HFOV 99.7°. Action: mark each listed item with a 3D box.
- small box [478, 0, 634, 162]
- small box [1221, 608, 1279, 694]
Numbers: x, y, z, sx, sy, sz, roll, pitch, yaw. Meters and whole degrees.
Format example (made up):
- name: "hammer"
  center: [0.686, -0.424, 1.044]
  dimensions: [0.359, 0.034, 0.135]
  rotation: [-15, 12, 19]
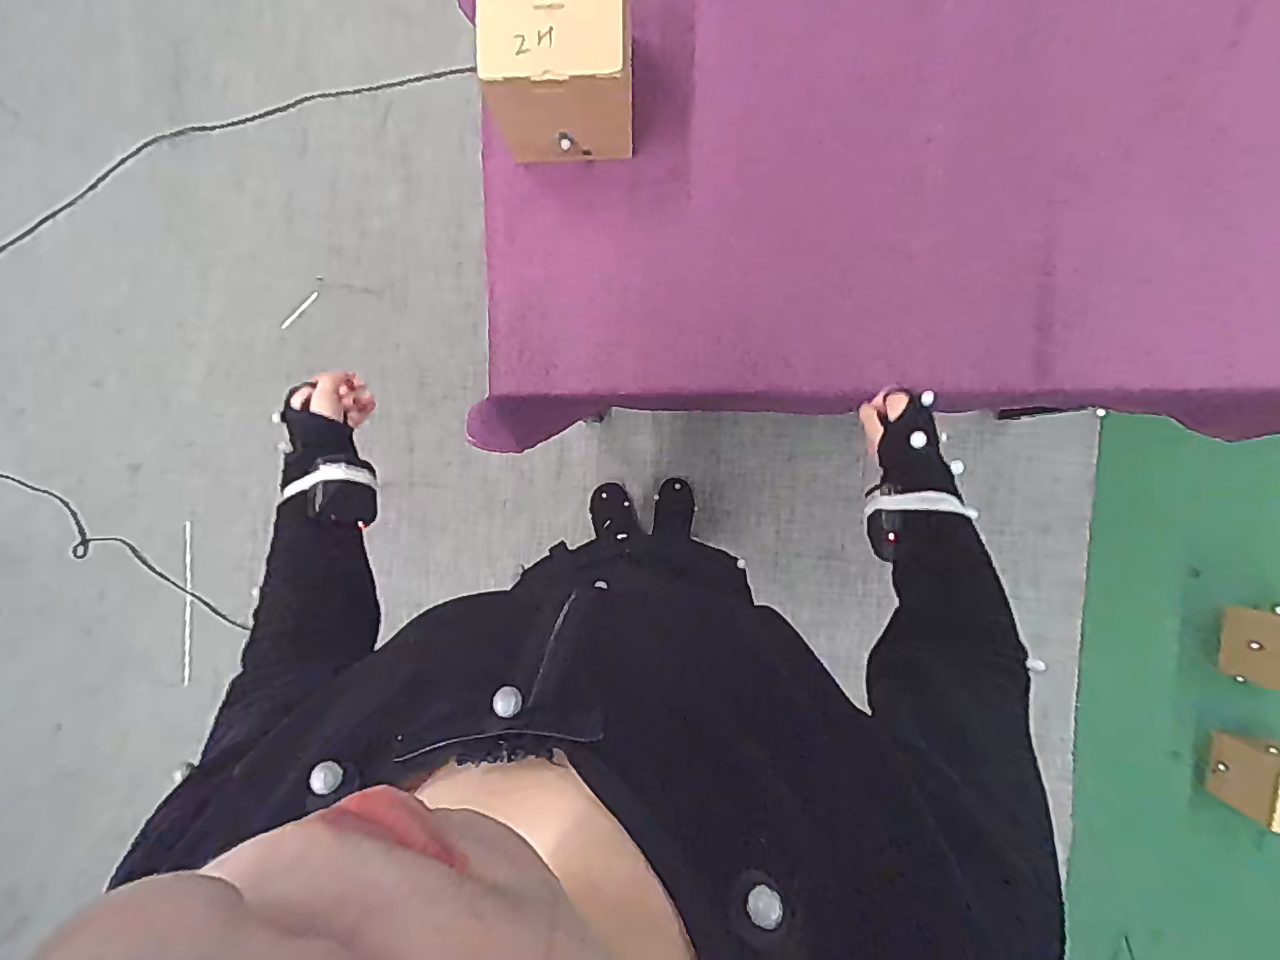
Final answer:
- name: "small box"
  center: [-0.096, -0.536, 0.681]
  dimensions: [0.168, 0.176, 0.179]
  rotation: [1, 92, 3]
- name: "small box"
  center: [1.617, 0.433, 1.346]
  dimensions: [0.168, 0.176, 0.179]
  rotation: [5, 91, 3]
